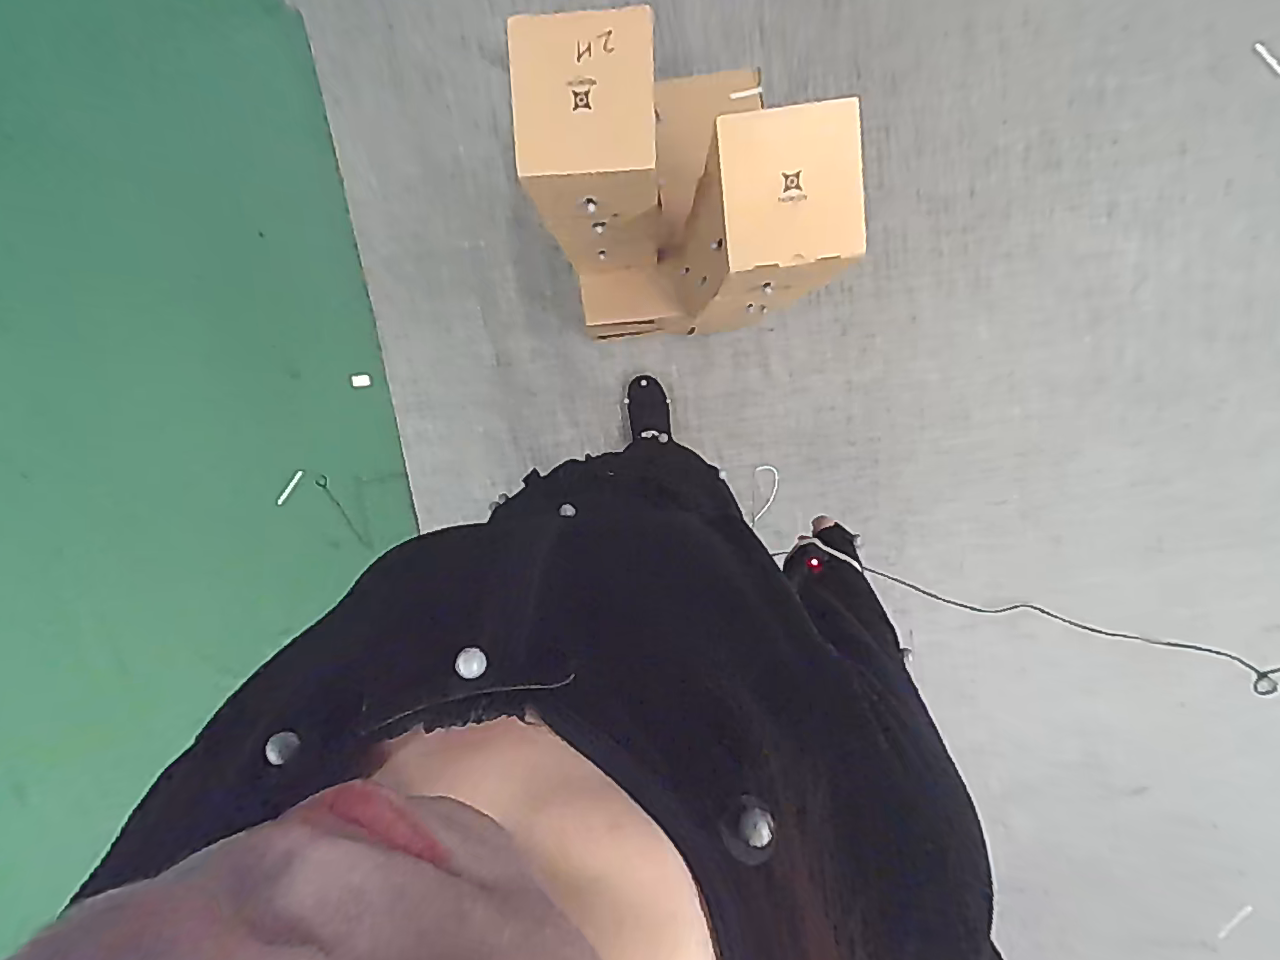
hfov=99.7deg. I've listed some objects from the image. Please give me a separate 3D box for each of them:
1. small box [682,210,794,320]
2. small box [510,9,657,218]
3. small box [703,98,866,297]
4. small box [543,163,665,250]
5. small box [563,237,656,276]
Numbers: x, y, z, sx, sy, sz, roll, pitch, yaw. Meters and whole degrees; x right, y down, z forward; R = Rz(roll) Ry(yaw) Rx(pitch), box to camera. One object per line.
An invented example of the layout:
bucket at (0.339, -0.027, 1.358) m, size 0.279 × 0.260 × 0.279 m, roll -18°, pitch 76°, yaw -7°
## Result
small box at (0.180, -0.411, 1.034) m, size 0.179 × 0.176 × 0.168 m, roll -8°, pitch 97°, yaw 4°
small box at (-0.062, -0.453, 0.701) m, size 0.168 × 0.176 × 0.179 m, roll -1°, pitch 97°, yaw 2°
small box at (0.179, -0.355, 0.711) m, size 0.168 × 0.176 × 0.179 m, roll -7°, pitch 98°, yaw 2°
small box at (-0.059, -0.482, 0.861) m, size 0.179 × 0.176 × 0.168 m, roll -8°, pitch 97°, yaw 6°
small box at (-0.062, -0.507, 1.027) m, size 0.168 × 0.176 × 0.179 m, roll -7°, pitch 97°, yaw 3°
